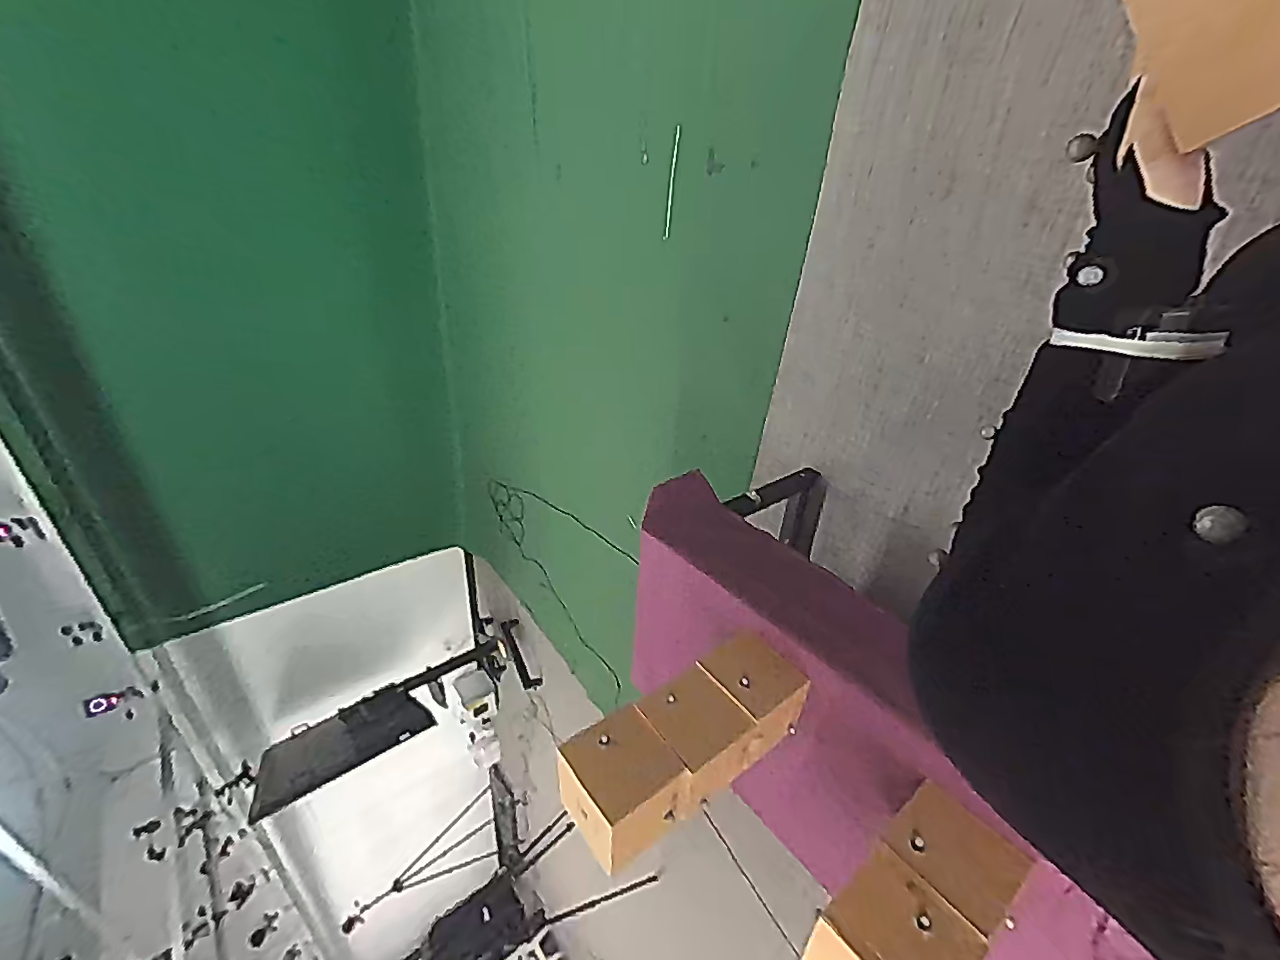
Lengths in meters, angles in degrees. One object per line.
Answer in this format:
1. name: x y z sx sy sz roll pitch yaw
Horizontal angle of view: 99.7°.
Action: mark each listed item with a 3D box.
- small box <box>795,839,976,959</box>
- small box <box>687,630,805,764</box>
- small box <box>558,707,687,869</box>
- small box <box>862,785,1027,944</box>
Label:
1. small box: 0.362 0.695 0.805 0.168 0.176 0.179 33 130 43
2. small box: 0.228 0.460 1.173 0.179 0.176 0.168 36 132 41
3. small box: -0.037 0.555 1.005 0.179 0.176 0.168 34 132 42
4. small box: 0.489 0.646 0.896 0.179 0.176 0.168 33 131 42
